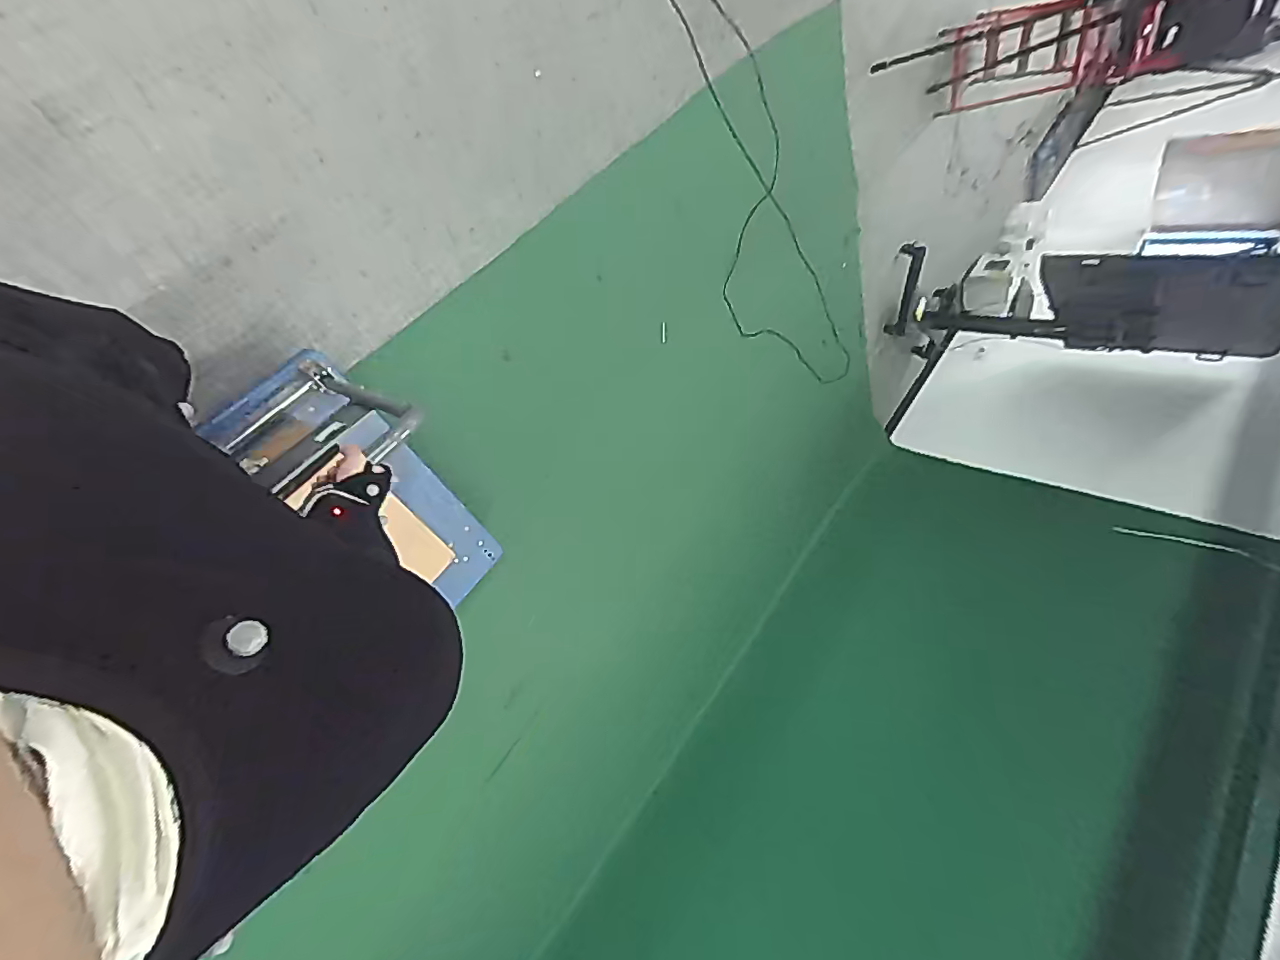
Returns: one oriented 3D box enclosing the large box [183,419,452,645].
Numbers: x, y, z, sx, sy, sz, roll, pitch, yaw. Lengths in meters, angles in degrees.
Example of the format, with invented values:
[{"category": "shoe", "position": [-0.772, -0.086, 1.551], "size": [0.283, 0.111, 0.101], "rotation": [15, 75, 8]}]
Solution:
[{"category": "large box", "position": [-0.750, 0.119, 1.289], "size": [0.320, 0.320, 0.408], "rotation": [-50, 137, -21]}]
